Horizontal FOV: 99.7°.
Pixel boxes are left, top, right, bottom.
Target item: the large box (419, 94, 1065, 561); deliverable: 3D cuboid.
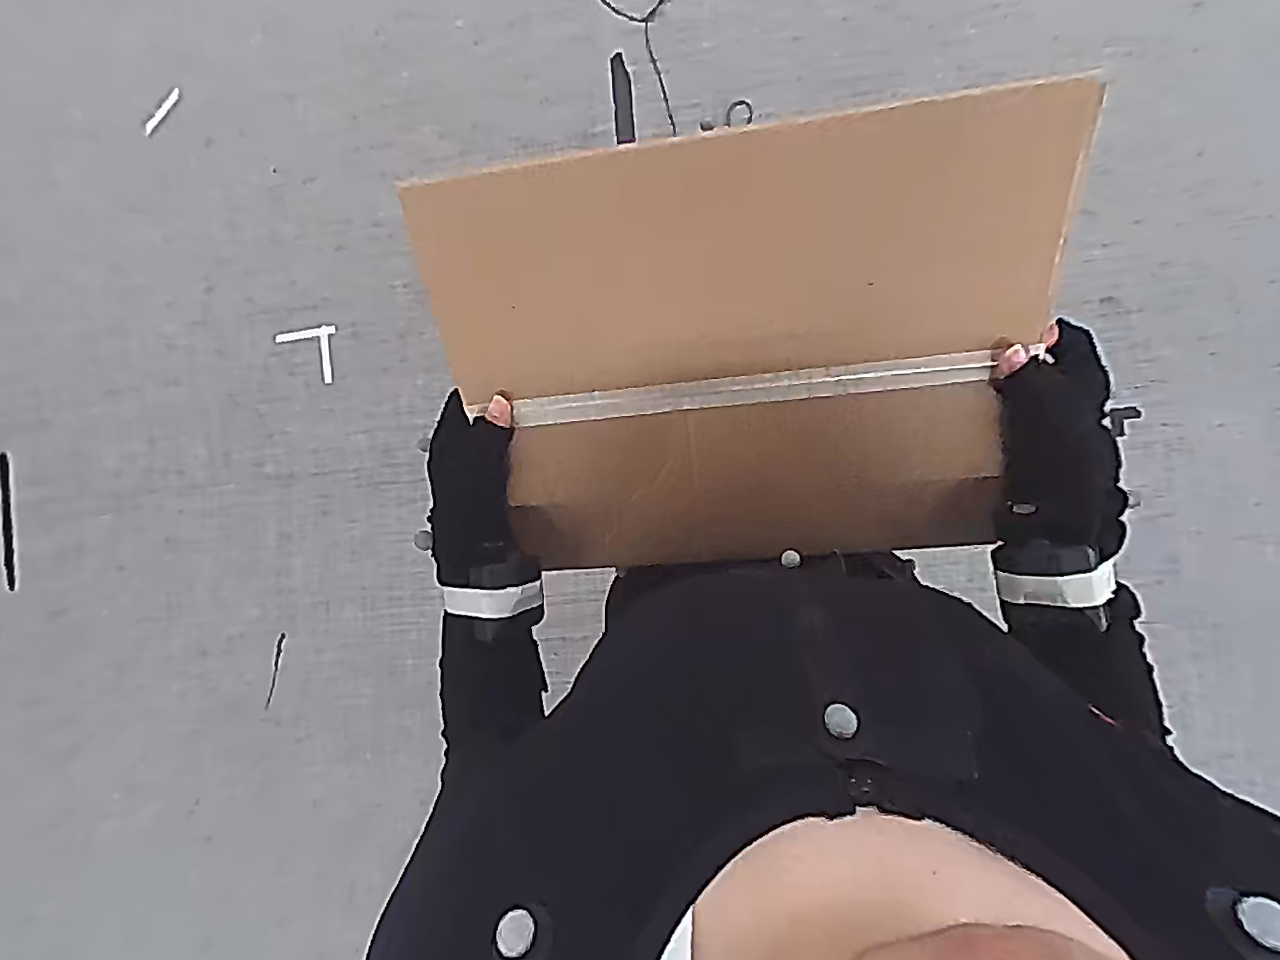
[{"bbox_3d":[0.080,-0.148,0.532,0.408,0.320,0.320,-5,120,8],"label":"large box"}]
